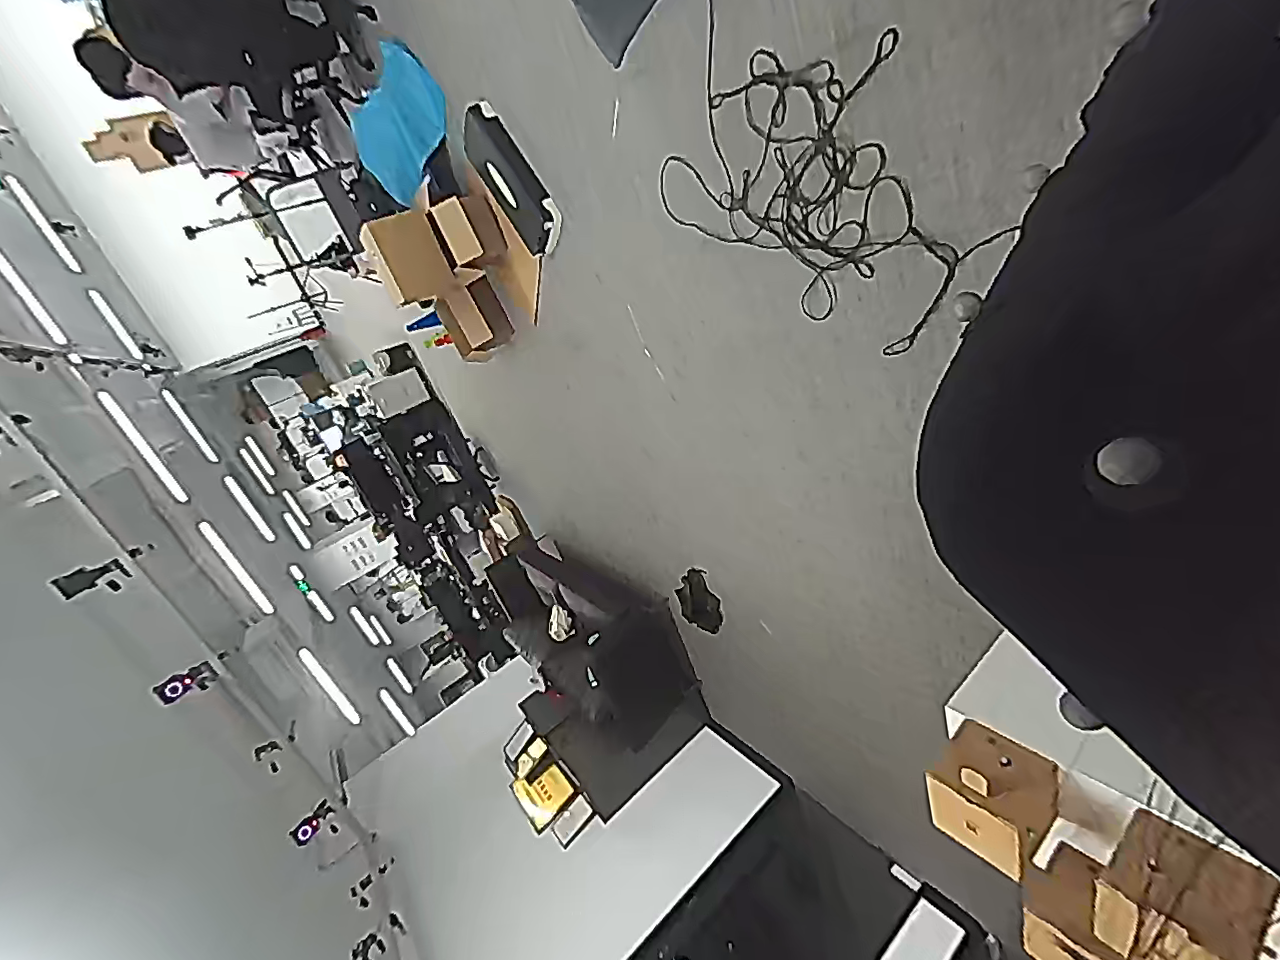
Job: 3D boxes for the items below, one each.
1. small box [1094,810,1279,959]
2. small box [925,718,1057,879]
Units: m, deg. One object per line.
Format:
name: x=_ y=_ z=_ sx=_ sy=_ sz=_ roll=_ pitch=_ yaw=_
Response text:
small box: x=0.855 y=0.674 z=0.851 sx=0.168 sy=0.176 sz=0.179 roll=21 pitch=138 yaw=55
small box: x=0.699 y=0.622 z=1.074 sx=0.168 sy=0.176 sz=0.179 roll=18 pitch=134 yaw=54
